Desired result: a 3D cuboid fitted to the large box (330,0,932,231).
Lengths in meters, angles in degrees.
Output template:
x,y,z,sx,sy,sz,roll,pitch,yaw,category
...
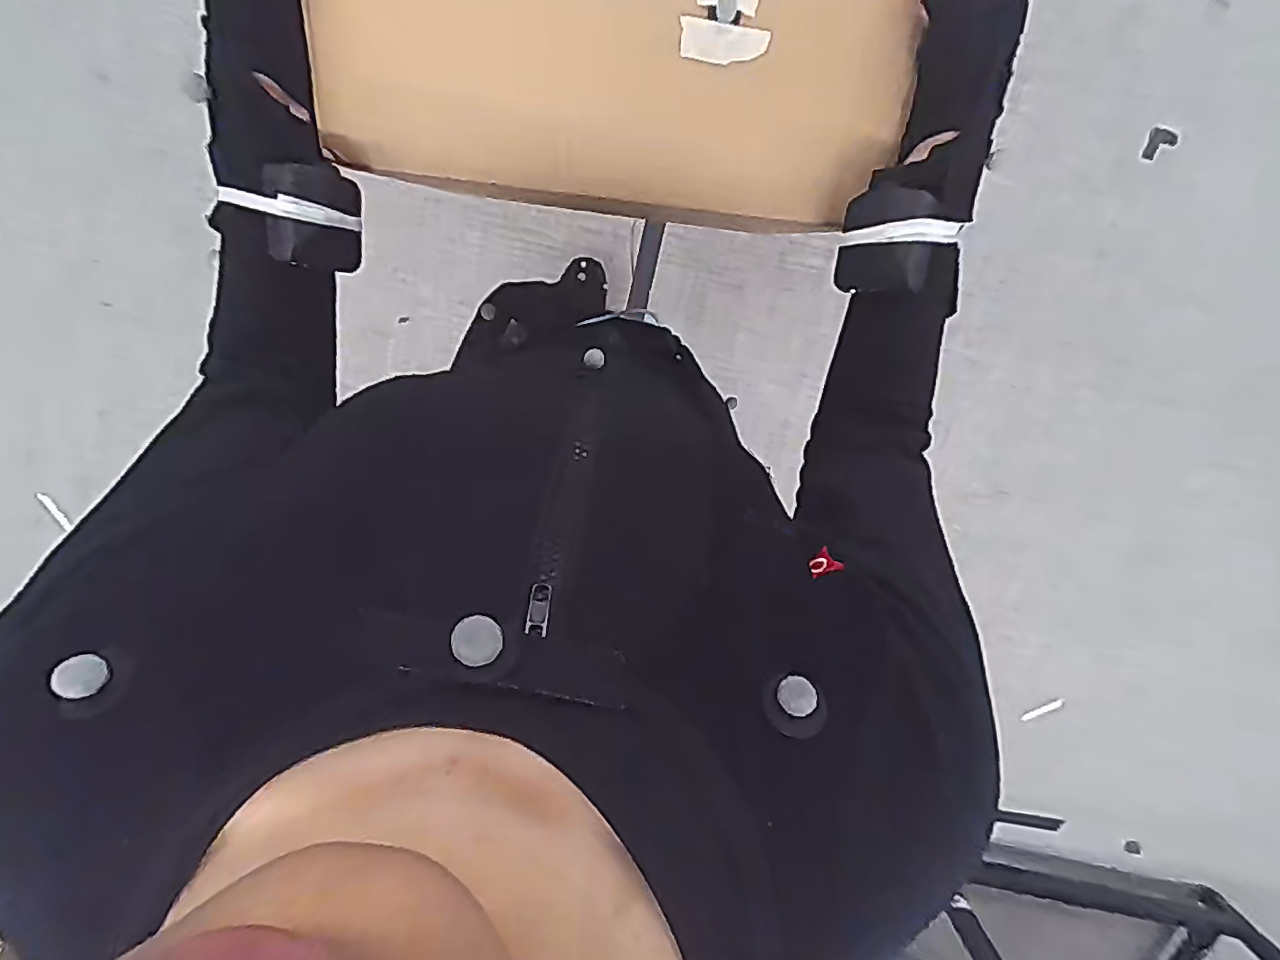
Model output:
x,y,z,sx,sy,sz,roll,pitch,yaw,category
-0.006,-0.409,0.478,0.408,0.320,0.320,5,115,-4,large box
